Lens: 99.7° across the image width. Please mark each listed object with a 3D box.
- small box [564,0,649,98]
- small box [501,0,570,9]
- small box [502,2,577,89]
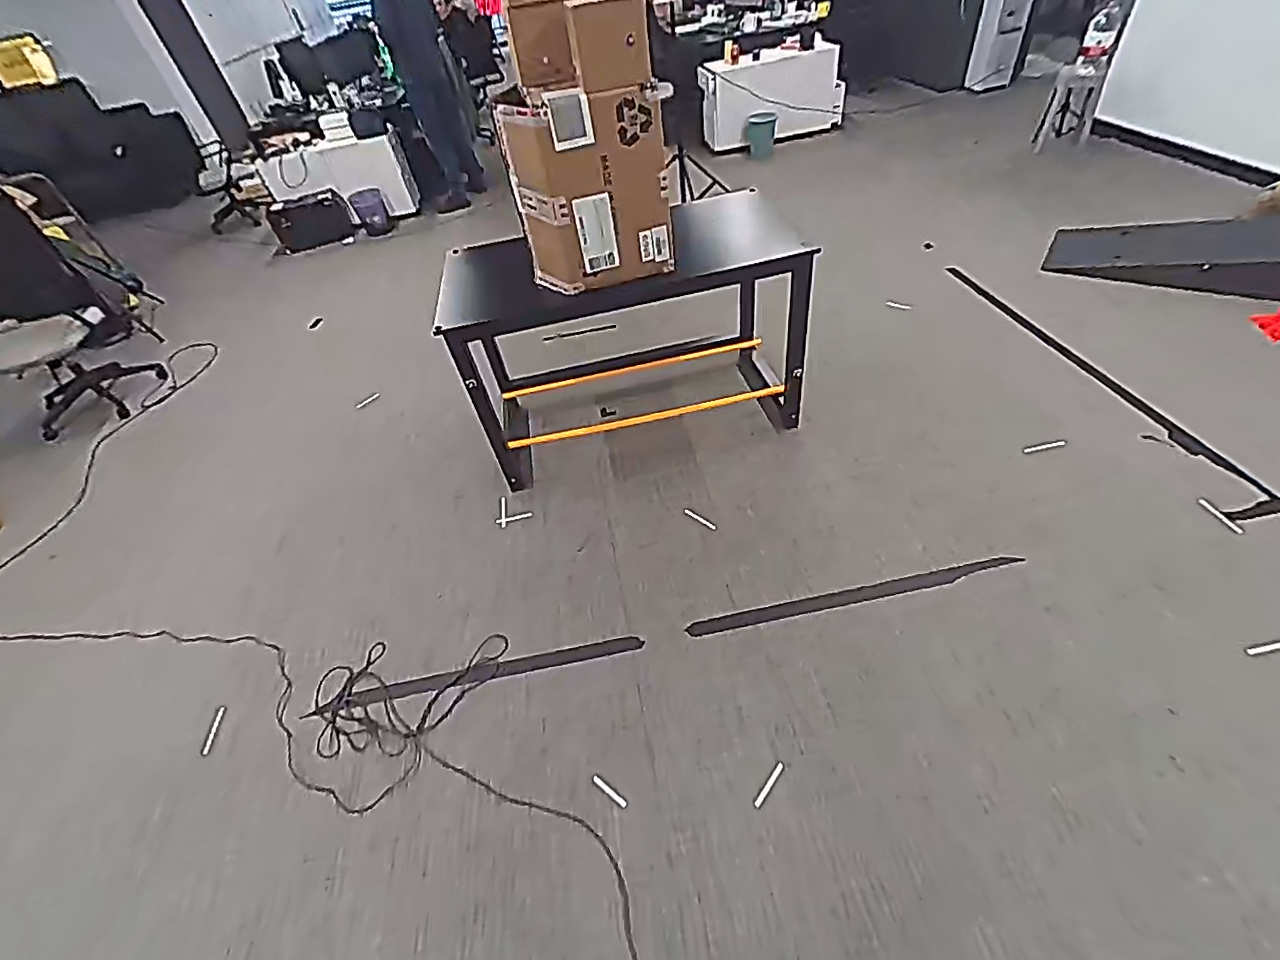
[{"bbox_3d":[-0.080,-1.079,1.346,0.179,0.176,0.168,-14,45,-3],"label":"small box"},{"bbox_3d":[-0.280,-1.306,1.364,0.168,0.176,0.179,-17,44,-8],"label":"small box"},{"bbox_3d":[-0.270,-1.191,1.483,0.168,0.176,0.179,-15,44,-7],"label":"small box"}]
